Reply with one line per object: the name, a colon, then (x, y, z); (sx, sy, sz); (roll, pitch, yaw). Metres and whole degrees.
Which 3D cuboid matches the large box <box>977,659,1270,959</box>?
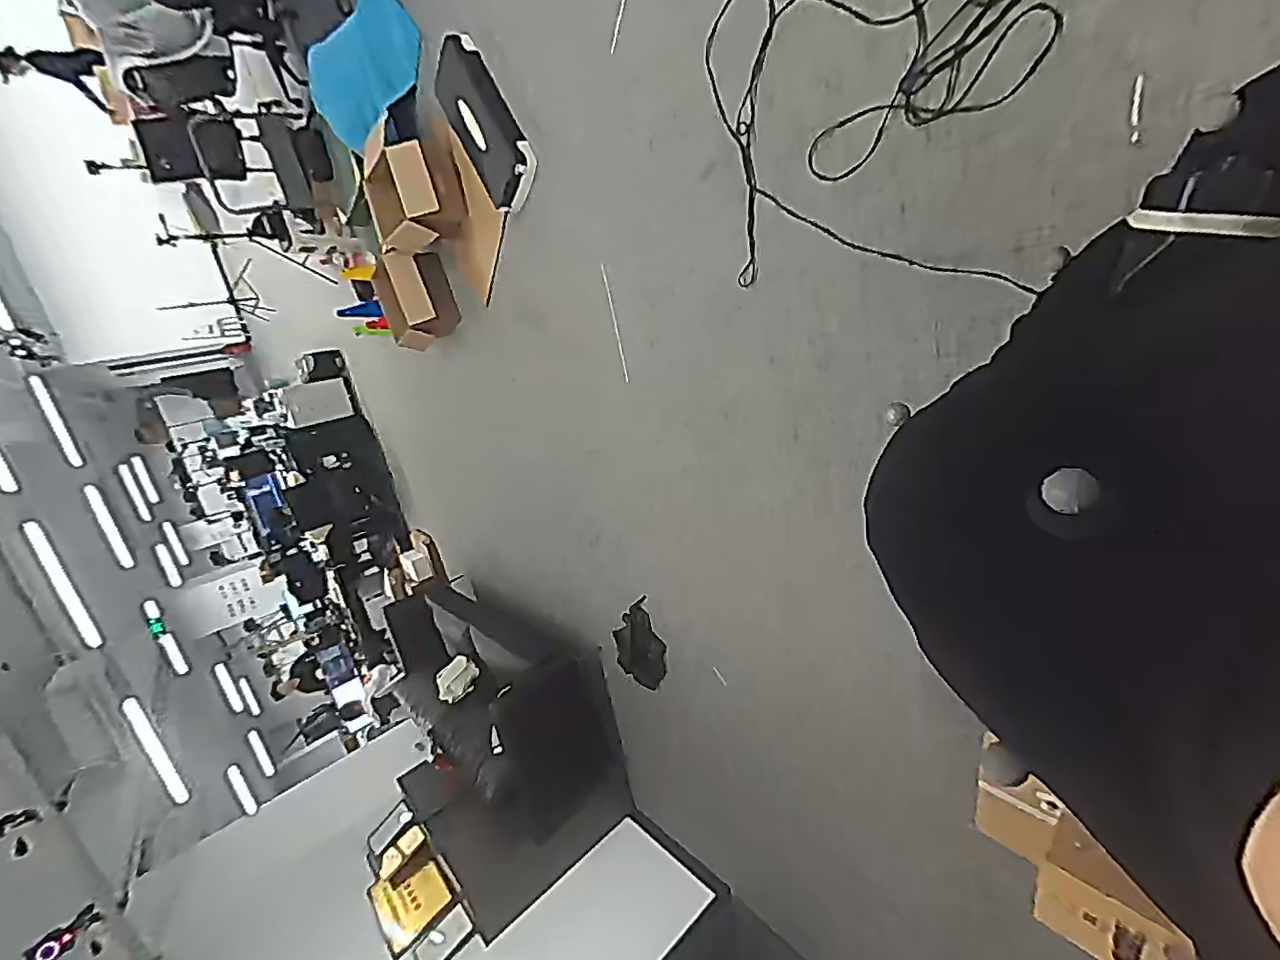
large box: (1.019, 0.664, 1.170); (0.408, 0.320, 0.320); (16, 121, 48)
